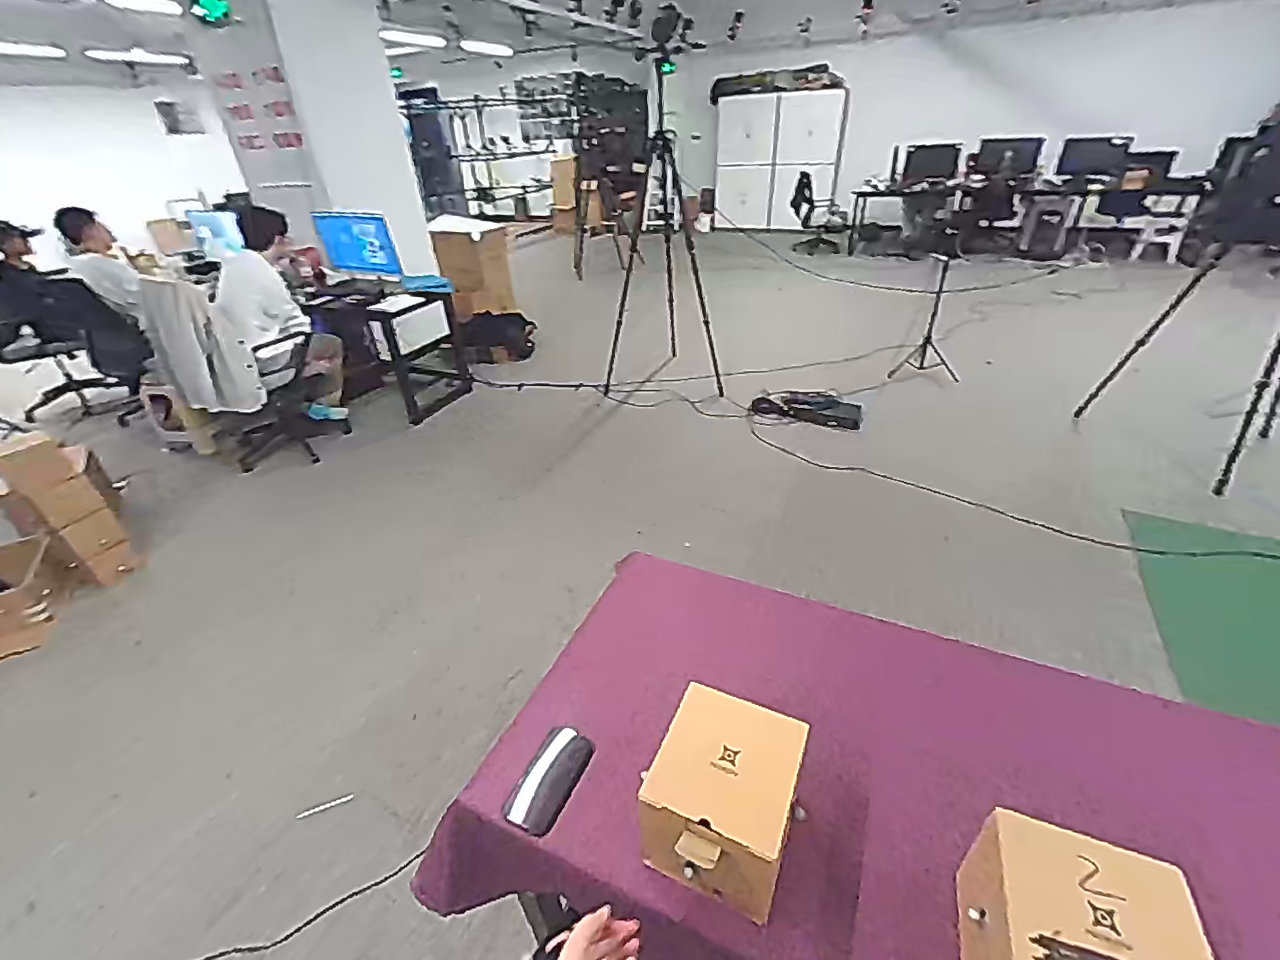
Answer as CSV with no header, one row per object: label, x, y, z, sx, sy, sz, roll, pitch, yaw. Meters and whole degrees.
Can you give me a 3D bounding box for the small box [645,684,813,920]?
small box,0.115,0.413,0.707,0.168,0.176,0.179,14,37,23
